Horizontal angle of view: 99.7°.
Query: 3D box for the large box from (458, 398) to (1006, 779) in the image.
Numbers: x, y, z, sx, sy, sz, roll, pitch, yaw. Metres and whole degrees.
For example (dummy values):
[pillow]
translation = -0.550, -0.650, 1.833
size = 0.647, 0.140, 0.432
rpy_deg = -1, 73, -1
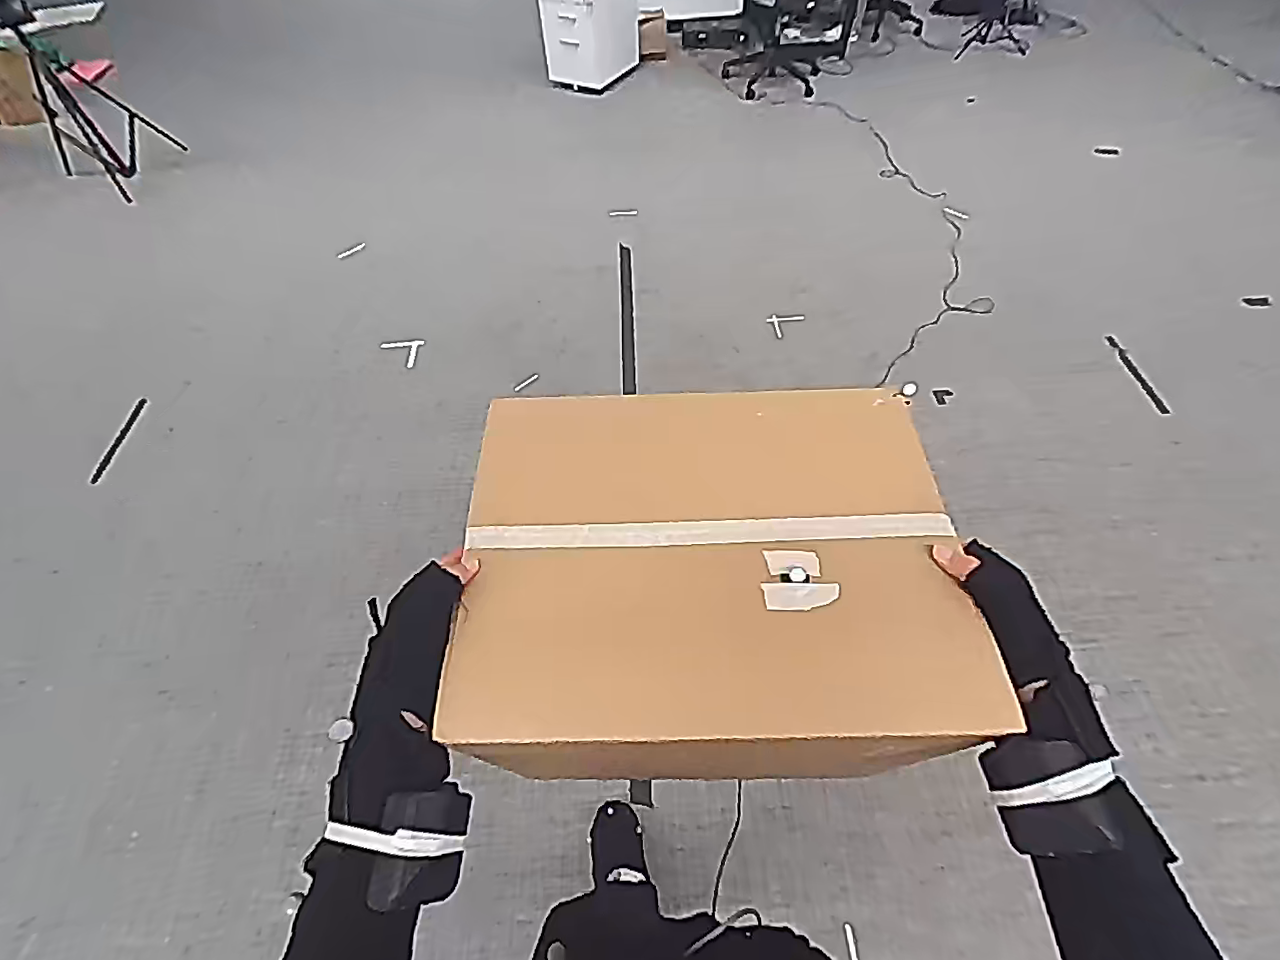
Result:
[large box]
translation = 0.064, 0.133, 0.590
size = 0.408, 0.320, 0.320
rpy_deg = -2, 58, 1
